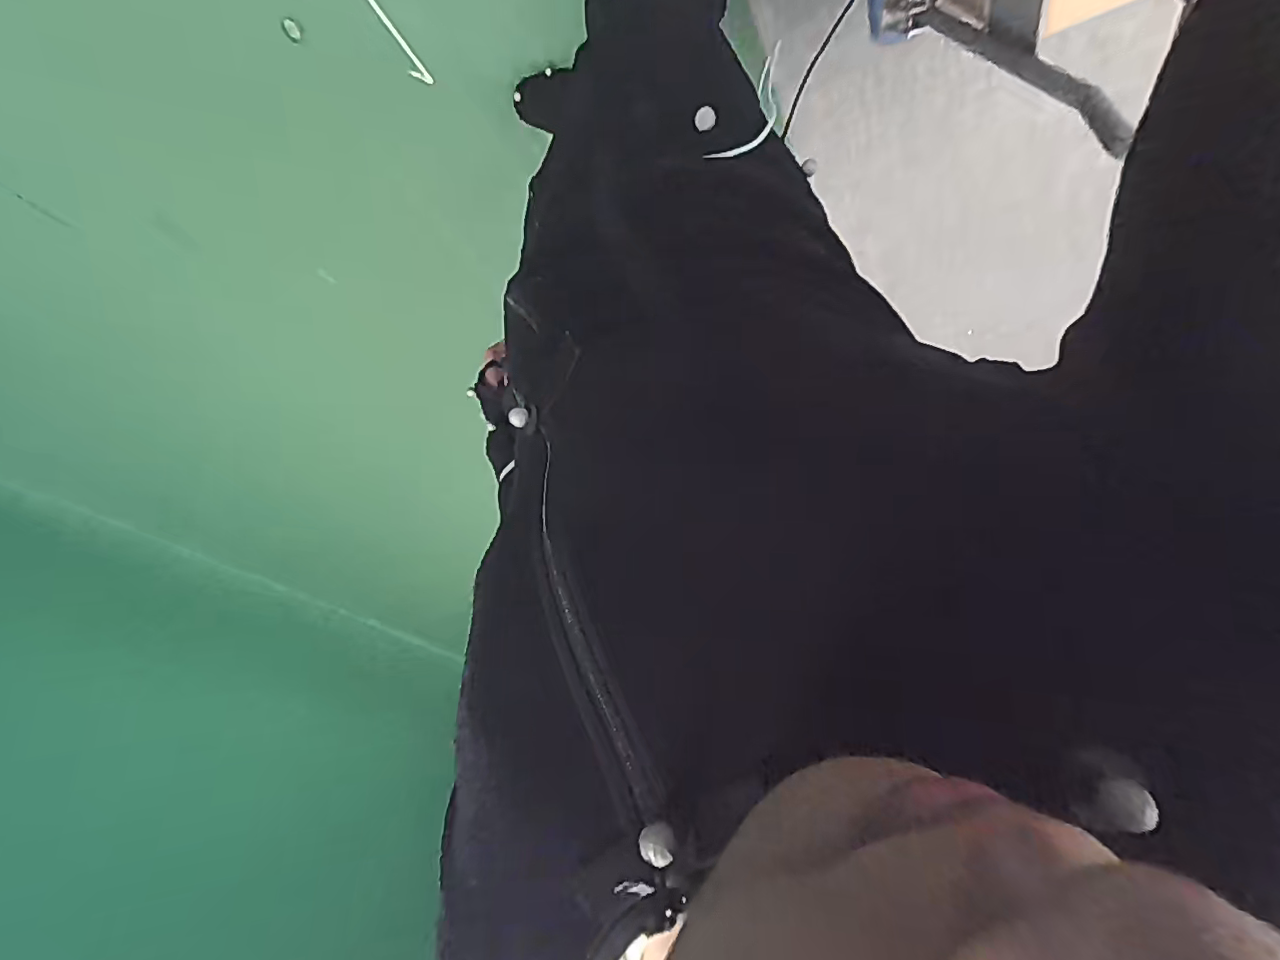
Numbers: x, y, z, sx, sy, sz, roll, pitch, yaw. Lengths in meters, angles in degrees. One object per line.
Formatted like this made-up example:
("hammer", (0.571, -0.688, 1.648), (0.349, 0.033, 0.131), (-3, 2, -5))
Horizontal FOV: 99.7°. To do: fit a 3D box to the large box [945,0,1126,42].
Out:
("large box", (0.668, -0.881, 0.708), (0.408, 0.320, 0.320), (-16, 140, 15))
